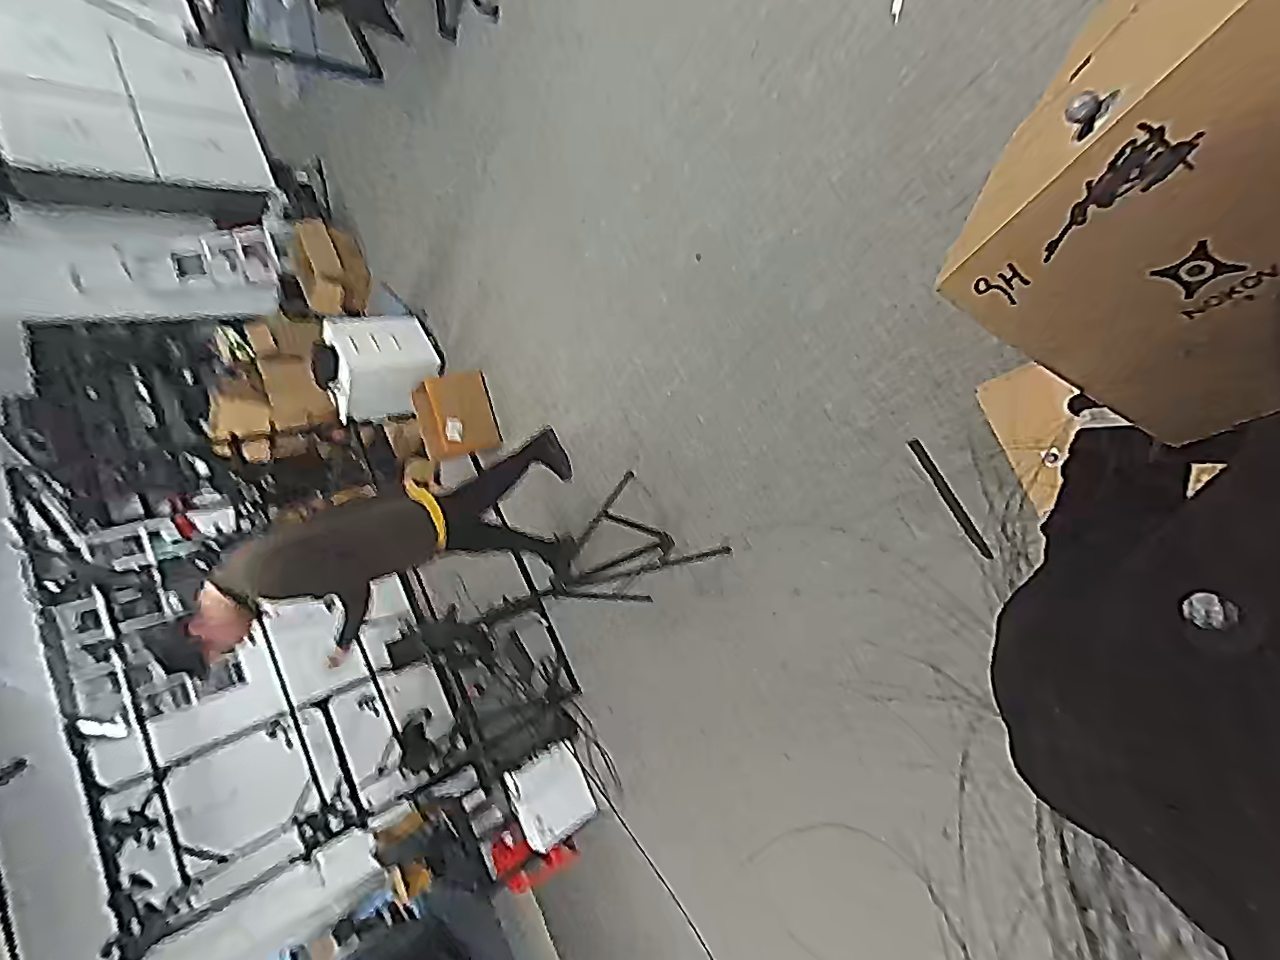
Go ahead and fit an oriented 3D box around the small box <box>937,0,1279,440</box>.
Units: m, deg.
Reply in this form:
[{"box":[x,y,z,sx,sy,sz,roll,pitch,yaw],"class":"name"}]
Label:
[{"box":[0.302,-0.156,0.271,0.179,0.176,0.168,34,159,0],"class":"small box"}]
